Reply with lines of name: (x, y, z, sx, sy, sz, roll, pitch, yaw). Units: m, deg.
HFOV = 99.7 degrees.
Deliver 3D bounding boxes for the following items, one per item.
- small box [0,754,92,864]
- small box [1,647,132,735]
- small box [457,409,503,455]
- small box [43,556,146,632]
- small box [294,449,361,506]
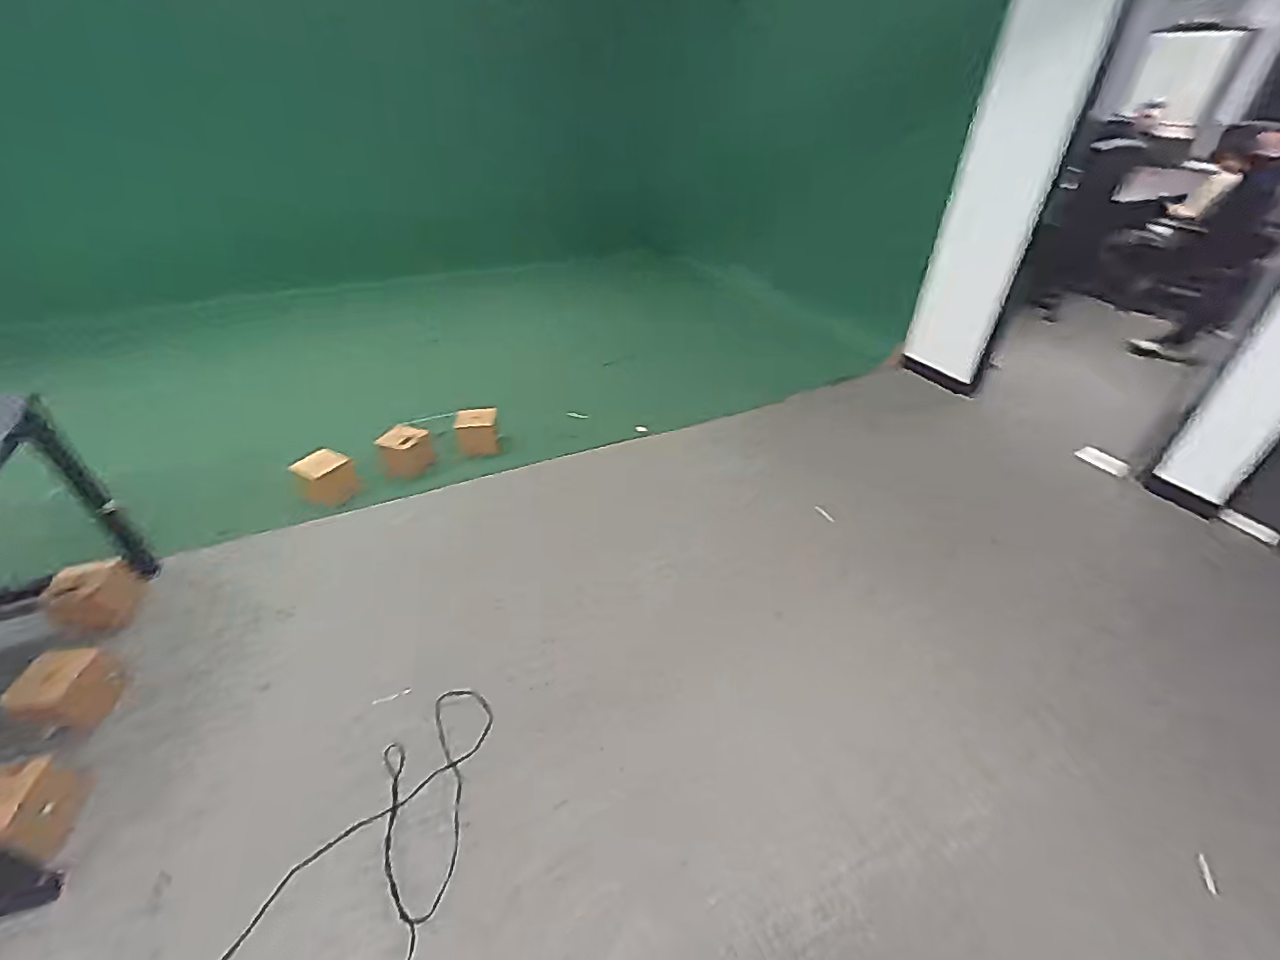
small box: (-1.506, 0.804, 1.311, 0.168, 0.176, 0.179, -8, 39, -10)
small box: (-1.640, 0.609, 1.565, 0.168, 0.176, 0.179, -3, 39, -3)
small box: (-0.787, -0.233, 2.673, 0.179, 0.176, 0.168, -3, 38, -5)
small box: (-1.844, 0.394, 1.844, 0.168, 0.176, 0.179, -12, 38, -16)
small box: (-1.370, -0.009, 2.379, 0.179, 0.176, 0.168, 20, 41, 23)
